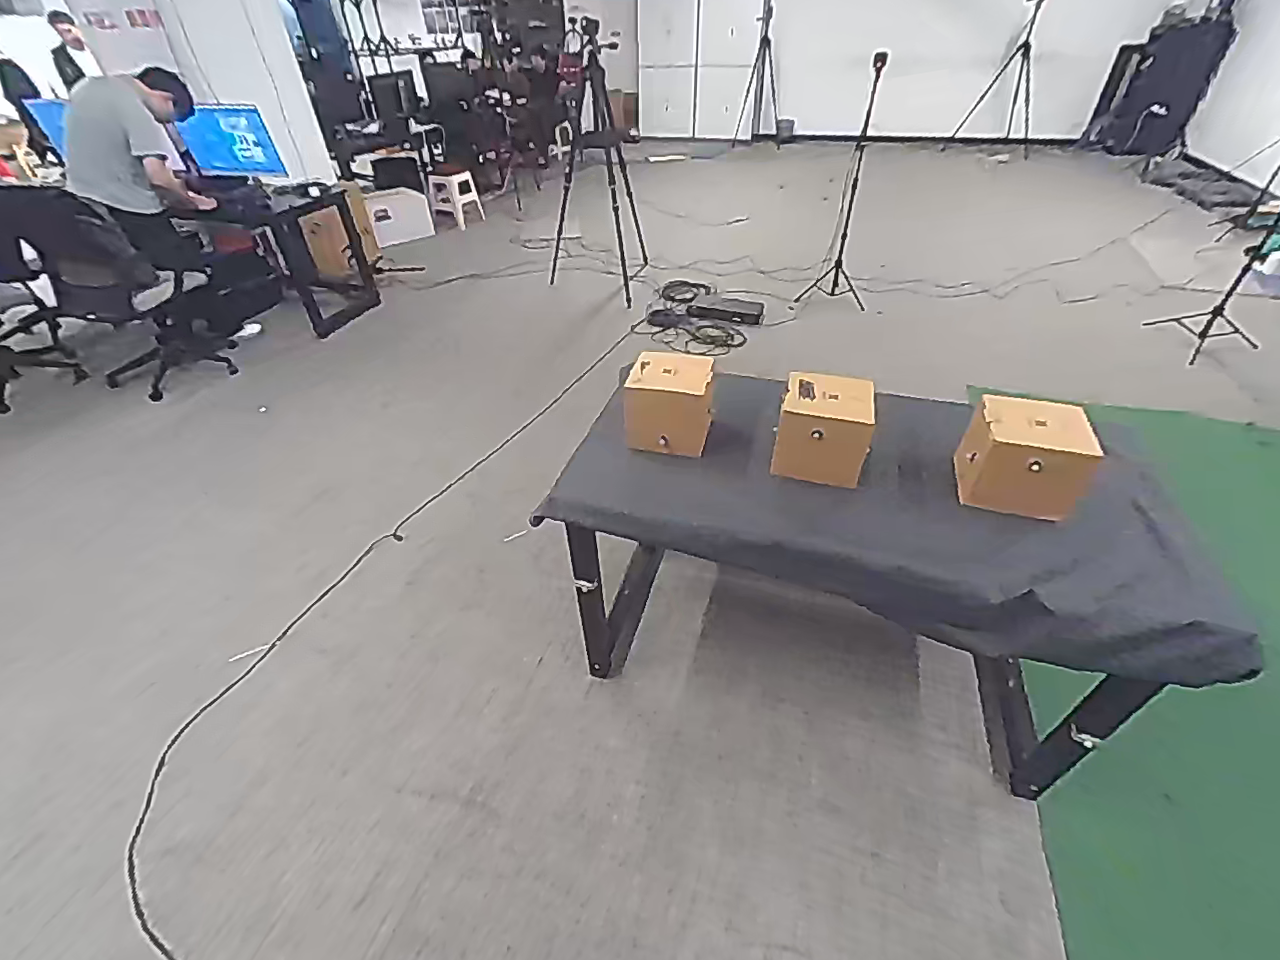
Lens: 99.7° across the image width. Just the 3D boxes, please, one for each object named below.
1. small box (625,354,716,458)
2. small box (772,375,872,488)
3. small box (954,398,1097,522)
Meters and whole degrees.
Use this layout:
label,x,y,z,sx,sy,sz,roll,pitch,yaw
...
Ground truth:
label,x,y,z,sx,sy,sz,roll,pitch,yaw
small box,0.071,-0.170,1.249,0.179,0.176,0.168,9,41,11
small box,0.386,-0.103,1.160,0.179,0.176,0.168,11,42,14
small box,0.745,-0.039,1.074,0.179,0.176,0.168,12,43,14
